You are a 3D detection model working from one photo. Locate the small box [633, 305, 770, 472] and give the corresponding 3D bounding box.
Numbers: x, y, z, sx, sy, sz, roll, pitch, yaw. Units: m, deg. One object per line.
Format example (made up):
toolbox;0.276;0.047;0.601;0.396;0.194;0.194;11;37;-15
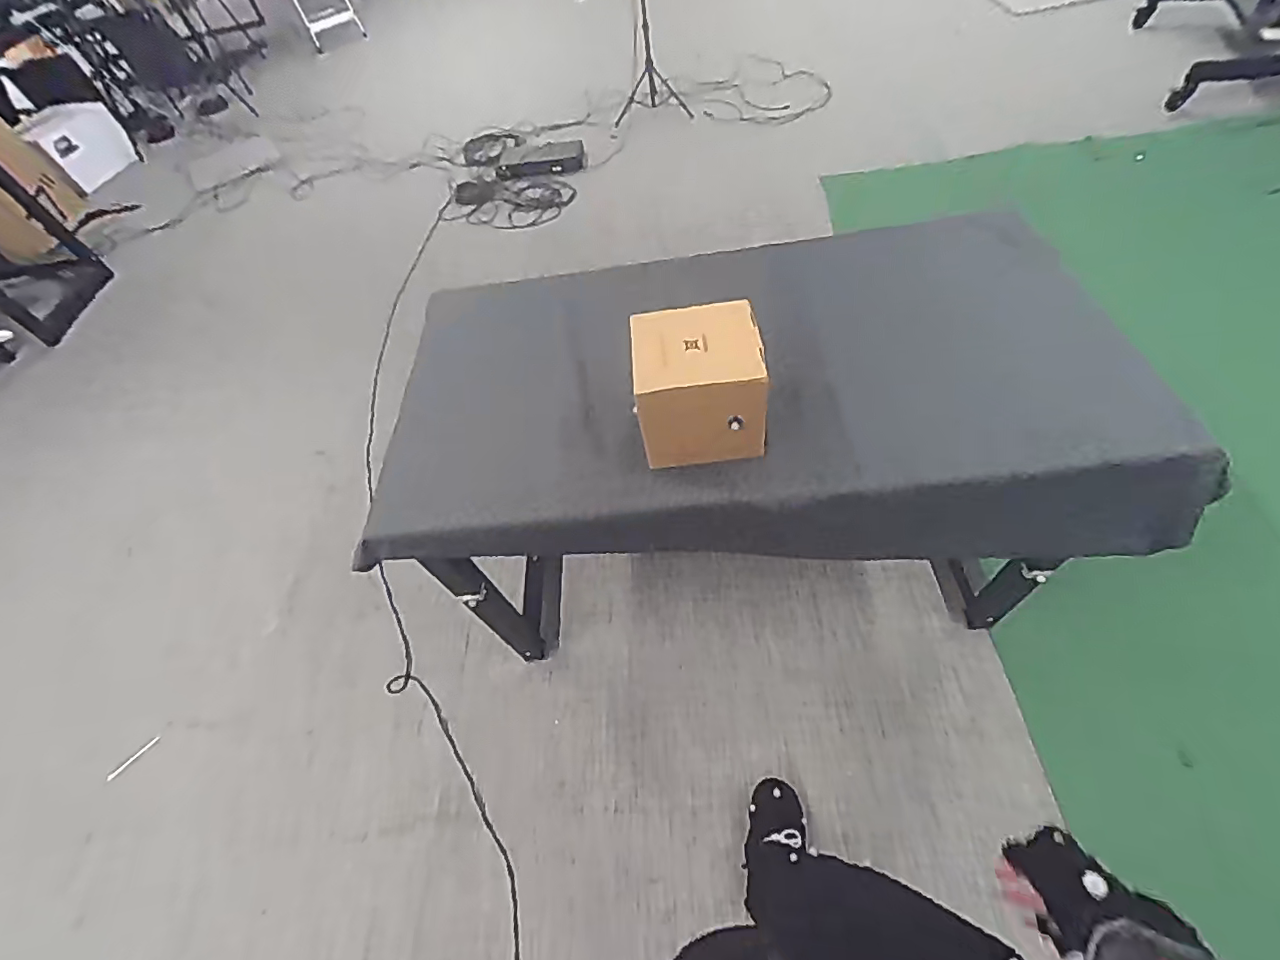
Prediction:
small box;0.089;-0.131;0.807;0.179;0.176;0.168;-8;53;6
